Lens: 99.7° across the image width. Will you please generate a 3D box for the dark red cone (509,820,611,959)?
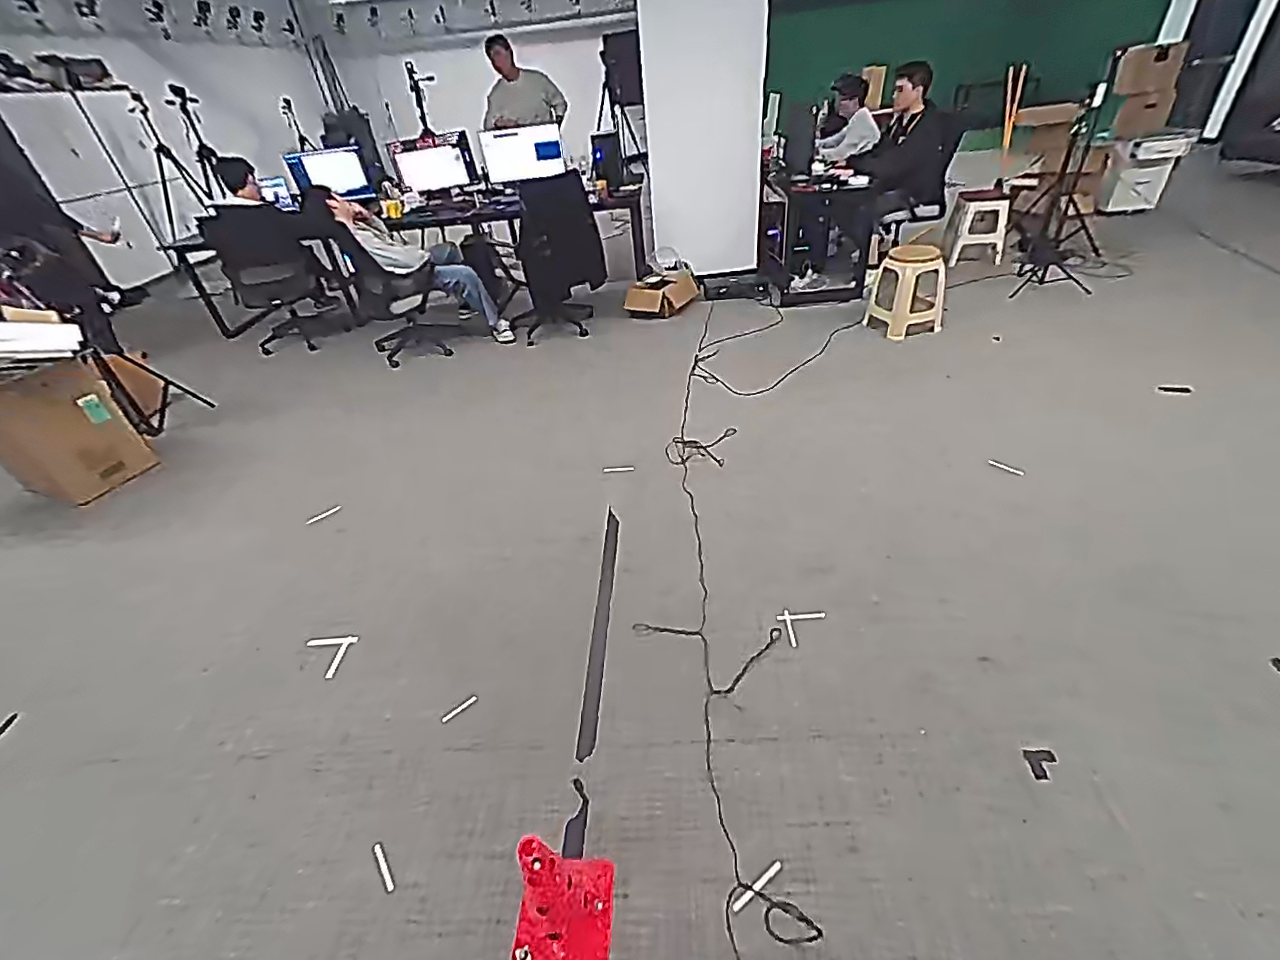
[{"bbox_3d":[-0.176,0.766,1.041,0.201,0.394,0.202,-3,36,4],"label":"dark red cone"}]
